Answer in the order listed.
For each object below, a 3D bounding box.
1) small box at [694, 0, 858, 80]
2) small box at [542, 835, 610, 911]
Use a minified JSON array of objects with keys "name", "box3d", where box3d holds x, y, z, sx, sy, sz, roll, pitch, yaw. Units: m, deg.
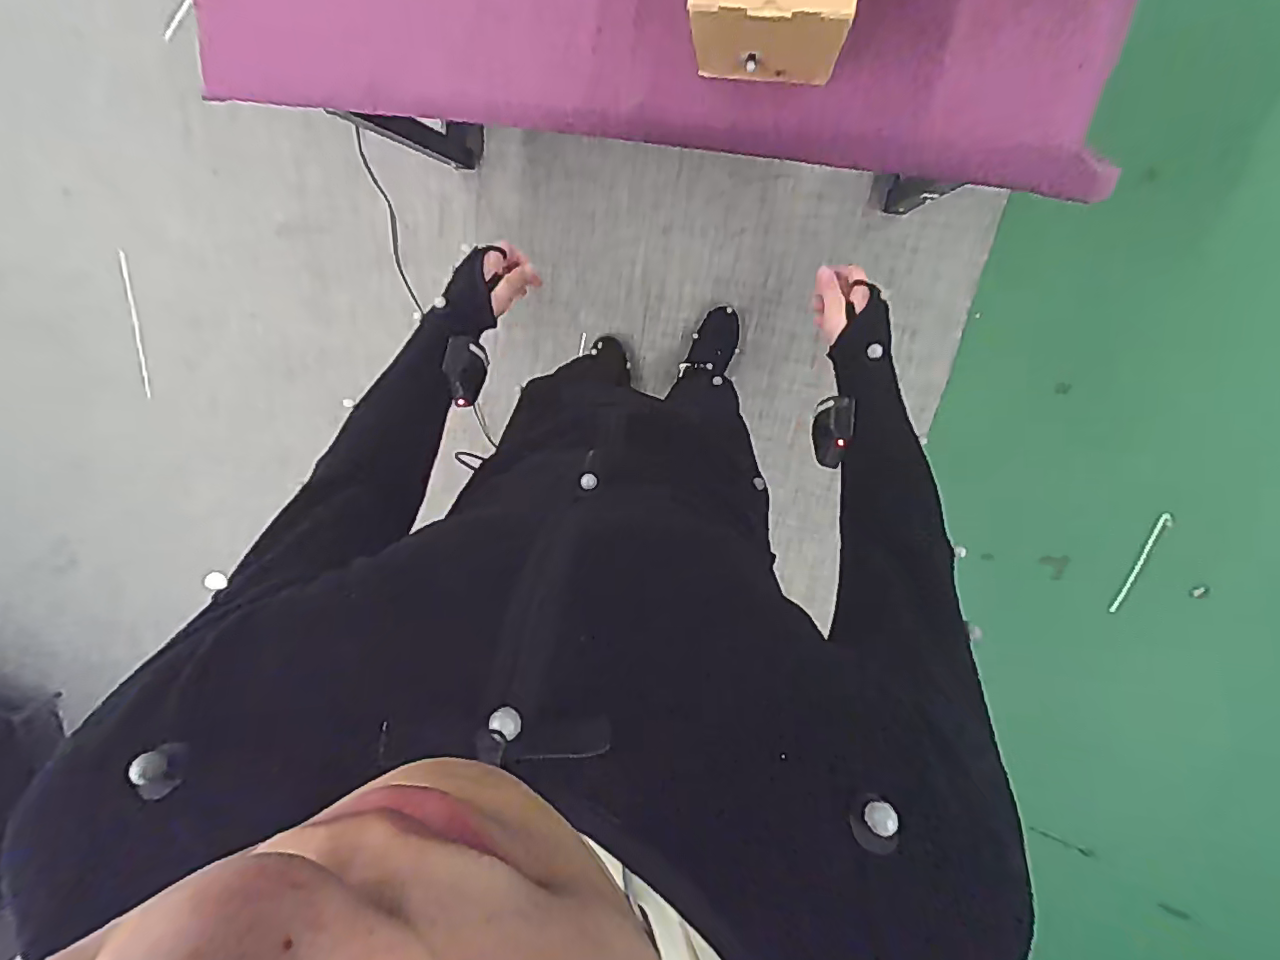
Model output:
[{"name":"small box","box3d":[0.152,-0.572,0.583,0.168,0.176,0.179,9,110,6]},{"name":"small box","box3d":[-0.191,1.198,1.591,0.168,0.176,0.179,12,111,4]}]
